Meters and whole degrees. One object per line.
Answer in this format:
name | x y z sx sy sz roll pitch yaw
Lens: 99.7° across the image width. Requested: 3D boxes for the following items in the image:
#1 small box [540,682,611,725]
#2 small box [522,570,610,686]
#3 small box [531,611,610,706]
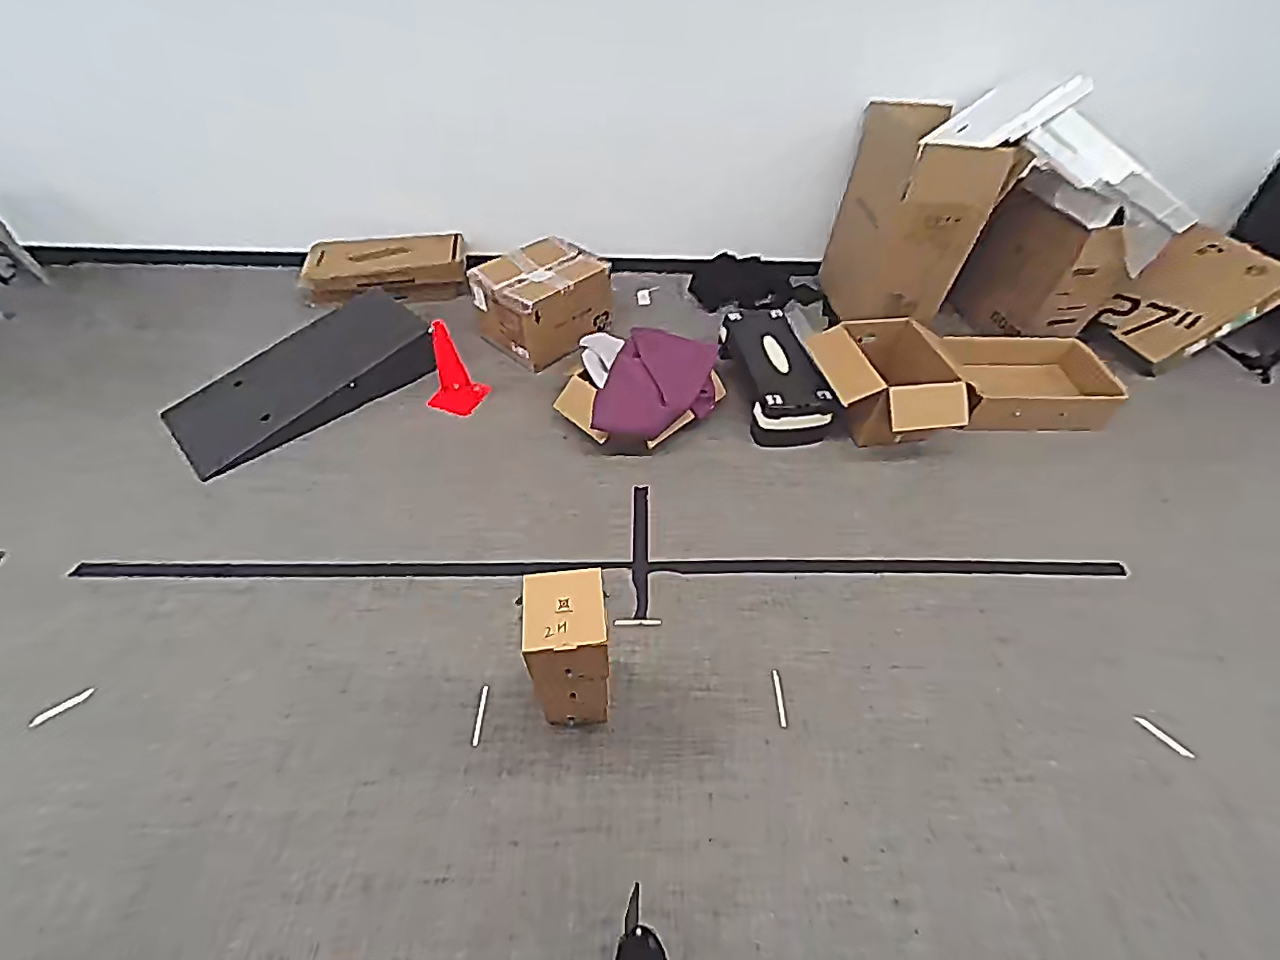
small box | -0.163 0.519 1.408 0.168 0.176 0.179 -2 50 -2
small box | -0.153 0.314 1.149 0.168 0.176 0.179 -5 49 -5
small box | -0.155 0.423 1.274 0.168 0.176 0.179 -1 49 -2
